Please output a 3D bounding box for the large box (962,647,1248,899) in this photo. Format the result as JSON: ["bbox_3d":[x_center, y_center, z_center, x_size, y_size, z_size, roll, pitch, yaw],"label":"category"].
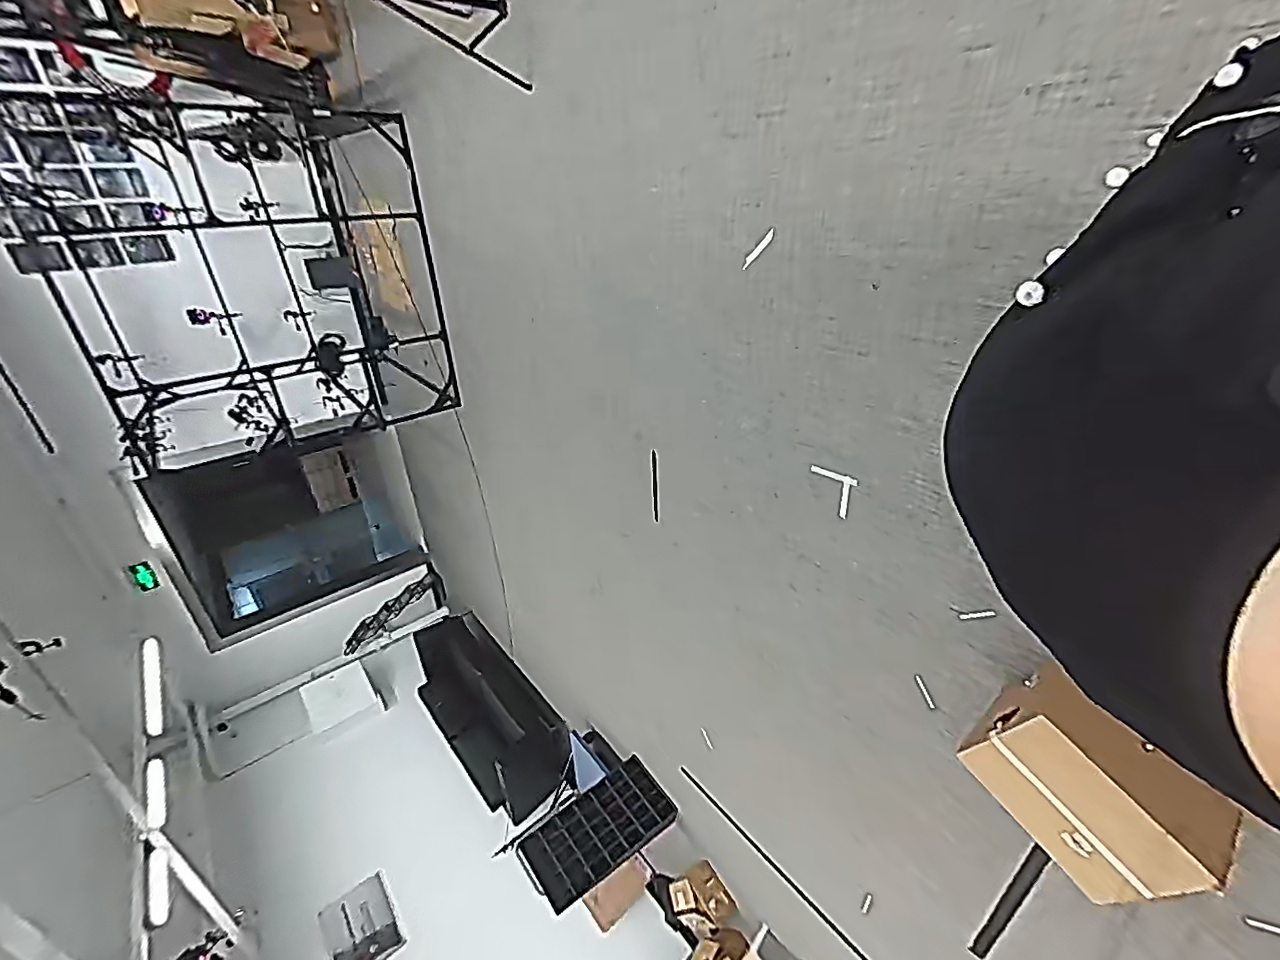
[{"bbox_3d":[1.125,0.707,1.338,0.408,0.320,0.320,48,142,25],"label":"large box"}]
